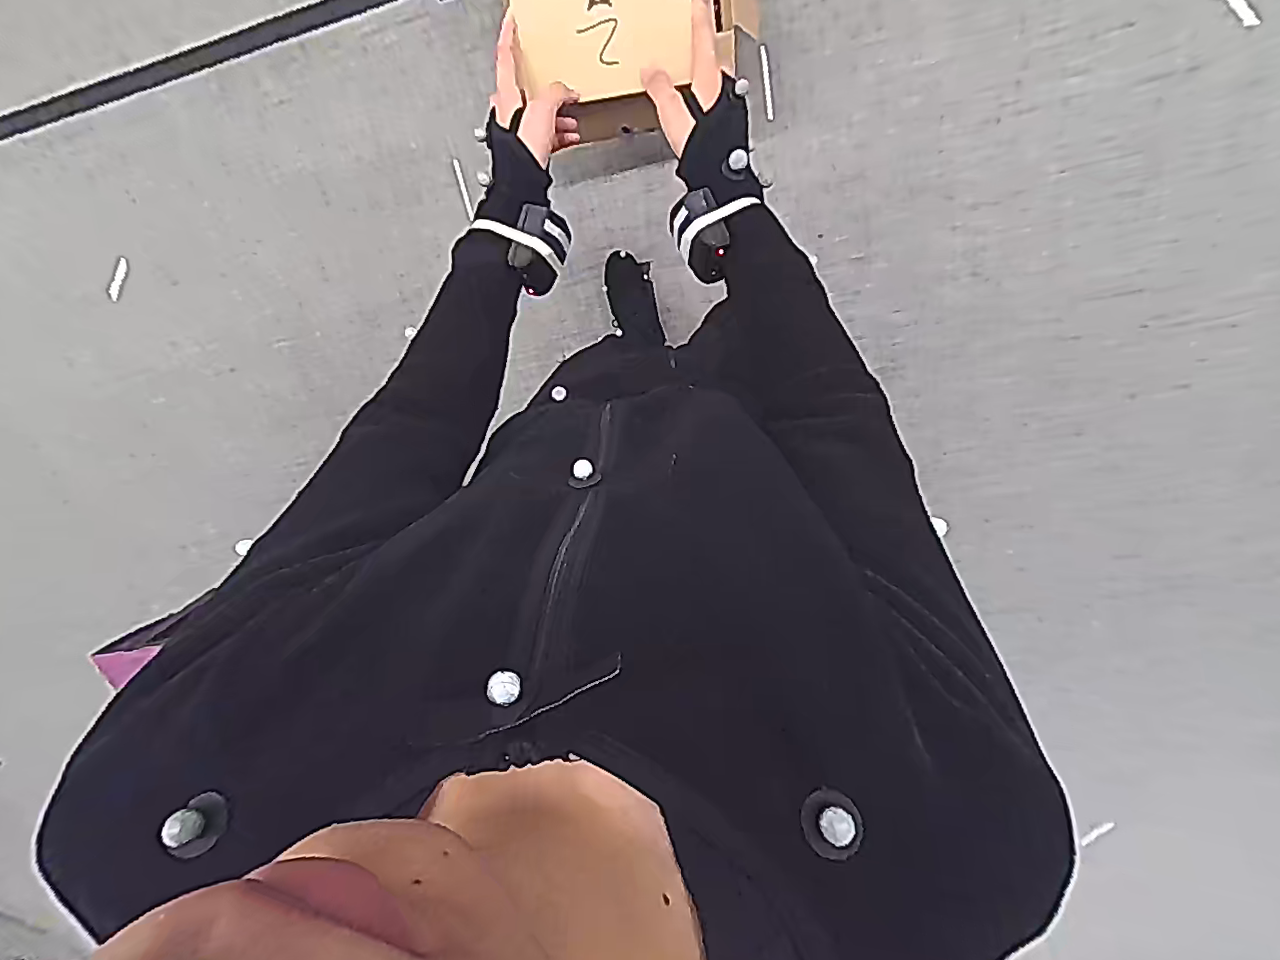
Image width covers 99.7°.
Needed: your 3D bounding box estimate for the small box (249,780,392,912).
[{"bbox_3d":[-0.689,0.799,1.189,0.179,0.176,0.168,-16,110,9],"label":"small box"}]
